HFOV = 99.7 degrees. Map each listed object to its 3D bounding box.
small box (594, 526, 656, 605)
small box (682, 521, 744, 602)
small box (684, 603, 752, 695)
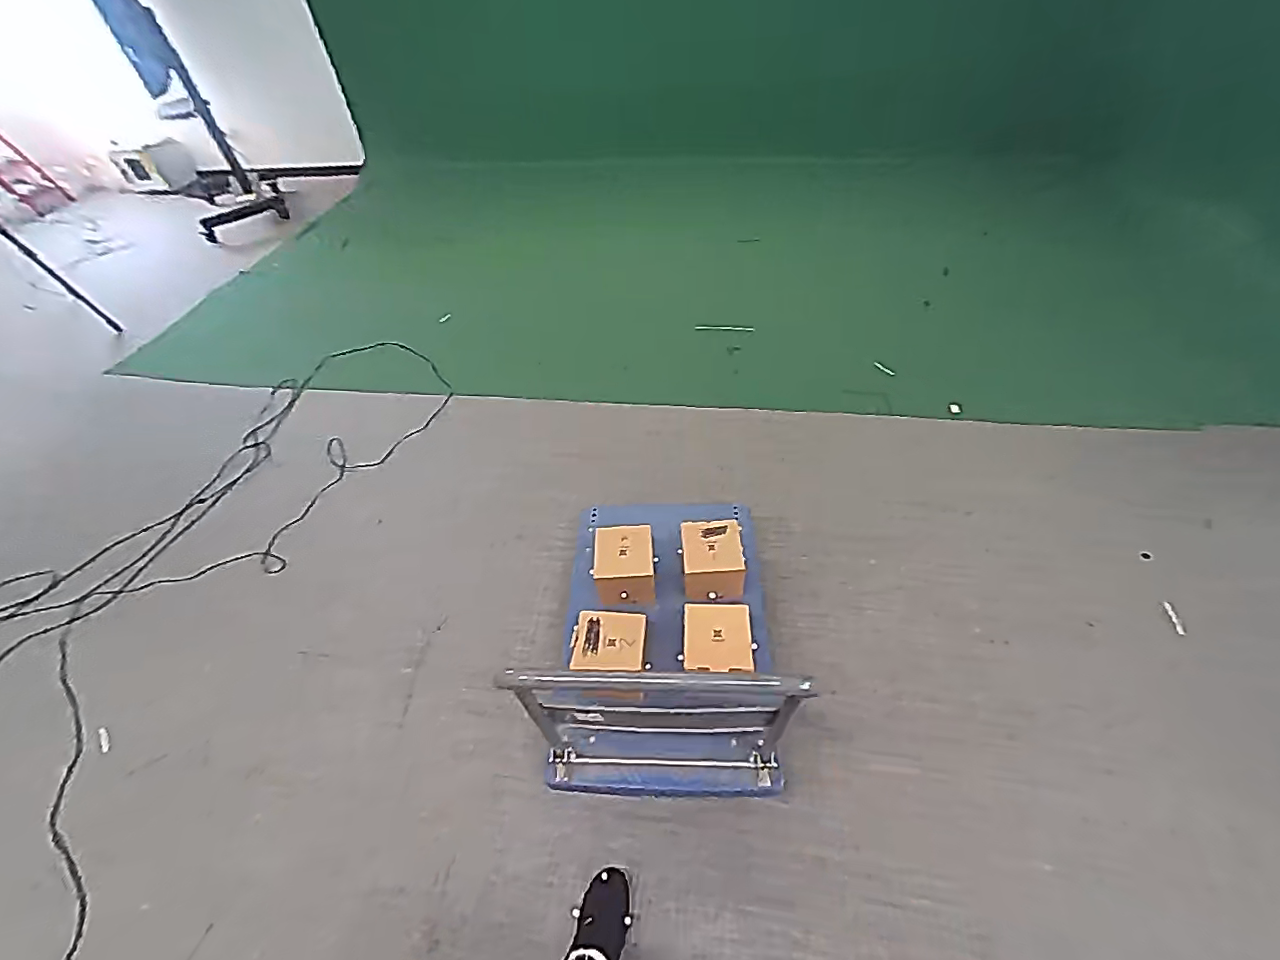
[{"bbox_3d":[-0.041,0.260,1.611,0.168,0.176,0.179,-3,48,2],"label":"small box"},{"bbox_3d":[0.210,0.242,1.603,0.168,0.176,0.179,-4,49,3],"label":"small box"},{"bbox_3d":[0.200,0.445,1.423,0.168,0.176,0.179,0,48,5],"label":"small box"}]
